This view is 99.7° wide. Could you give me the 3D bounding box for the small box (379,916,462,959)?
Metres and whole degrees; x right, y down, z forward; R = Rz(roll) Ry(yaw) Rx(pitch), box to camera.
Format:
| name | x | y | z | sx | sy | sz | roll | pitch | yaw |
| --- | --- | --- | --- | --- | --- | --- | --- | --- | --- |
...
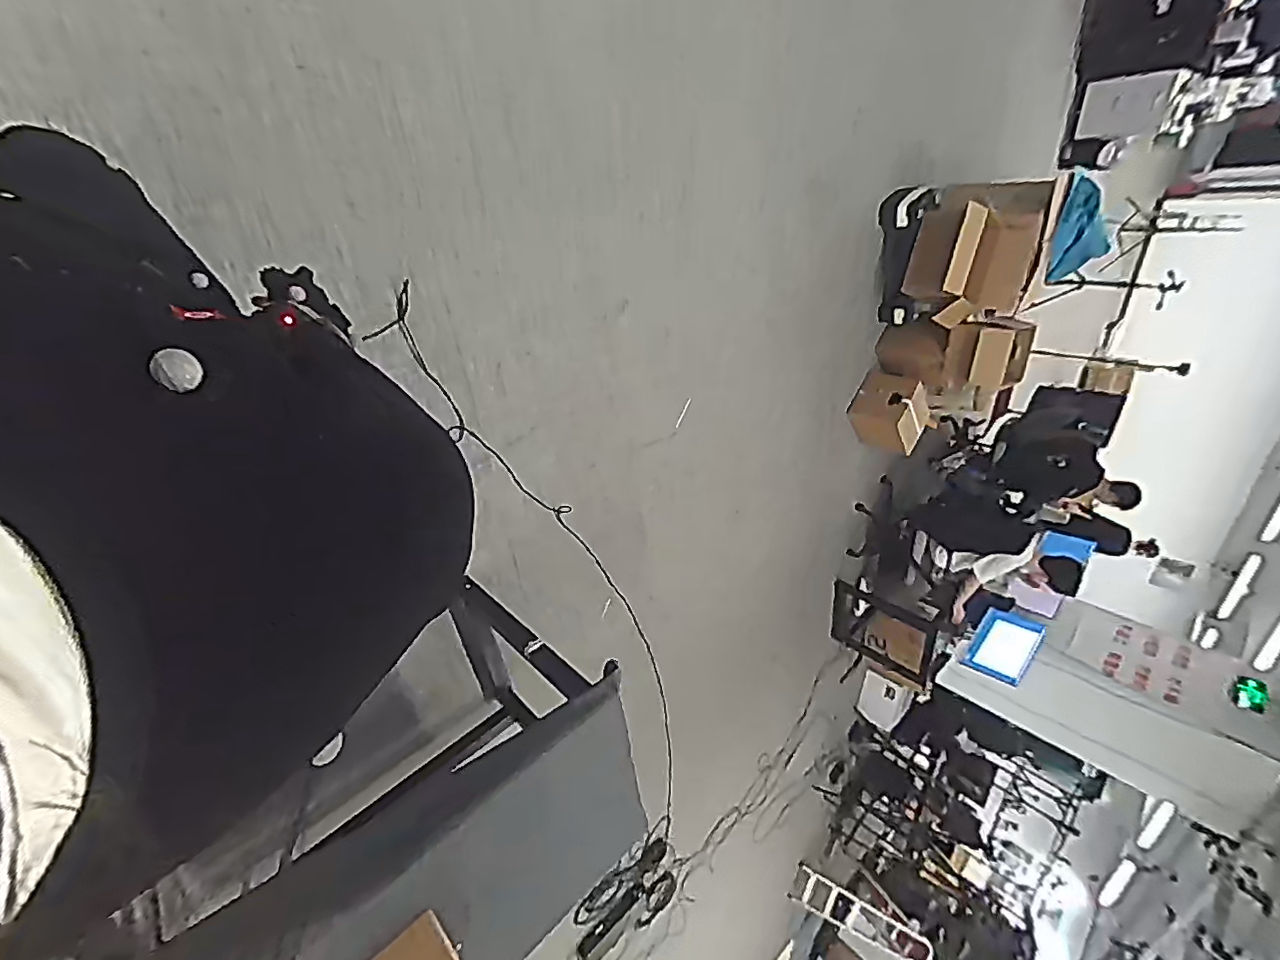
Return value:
| name | x | y | z | sx | sy | sz | roll | pitch | yaw |
| --- | --- | --- | --- | --- | --- | --- | --- | --- | --- |
| small box | -0.400 | 0.958 | 0.981 | 0.179 | 0.176 | 0.168 | -29 | 126 | -33 |
